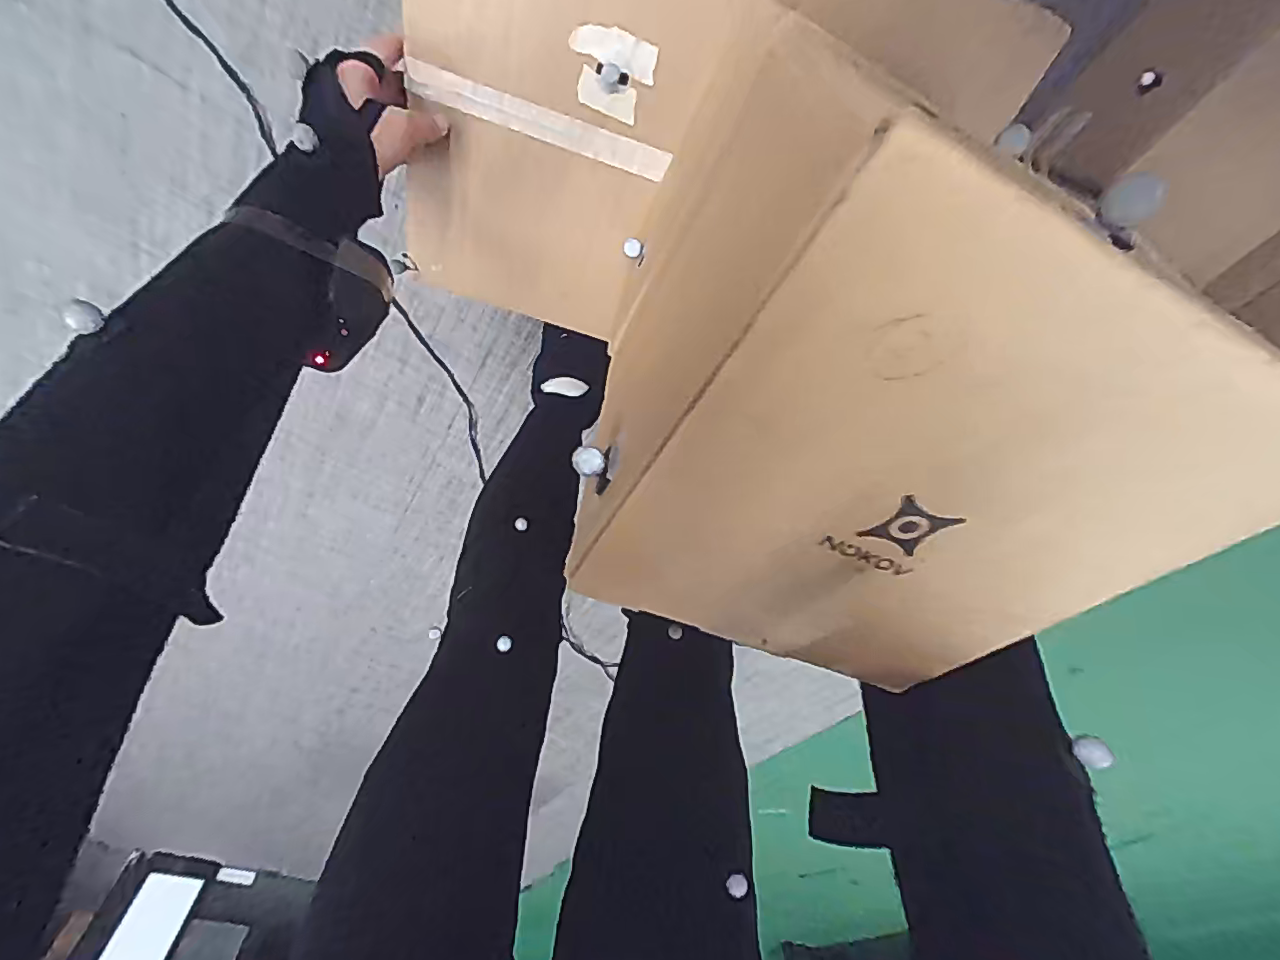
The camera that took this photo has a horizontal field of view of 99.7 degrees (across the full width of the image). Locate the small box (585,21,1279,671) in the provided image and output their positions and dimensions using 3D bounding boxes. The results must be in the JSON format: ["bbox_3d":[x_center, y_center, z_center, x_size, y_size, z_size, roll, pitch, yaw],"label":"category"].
[{"bbox_3d":[0.091,-0.049,0.230,0.168,0.176,0.179,21,134,-14],"label":"small box"}]
